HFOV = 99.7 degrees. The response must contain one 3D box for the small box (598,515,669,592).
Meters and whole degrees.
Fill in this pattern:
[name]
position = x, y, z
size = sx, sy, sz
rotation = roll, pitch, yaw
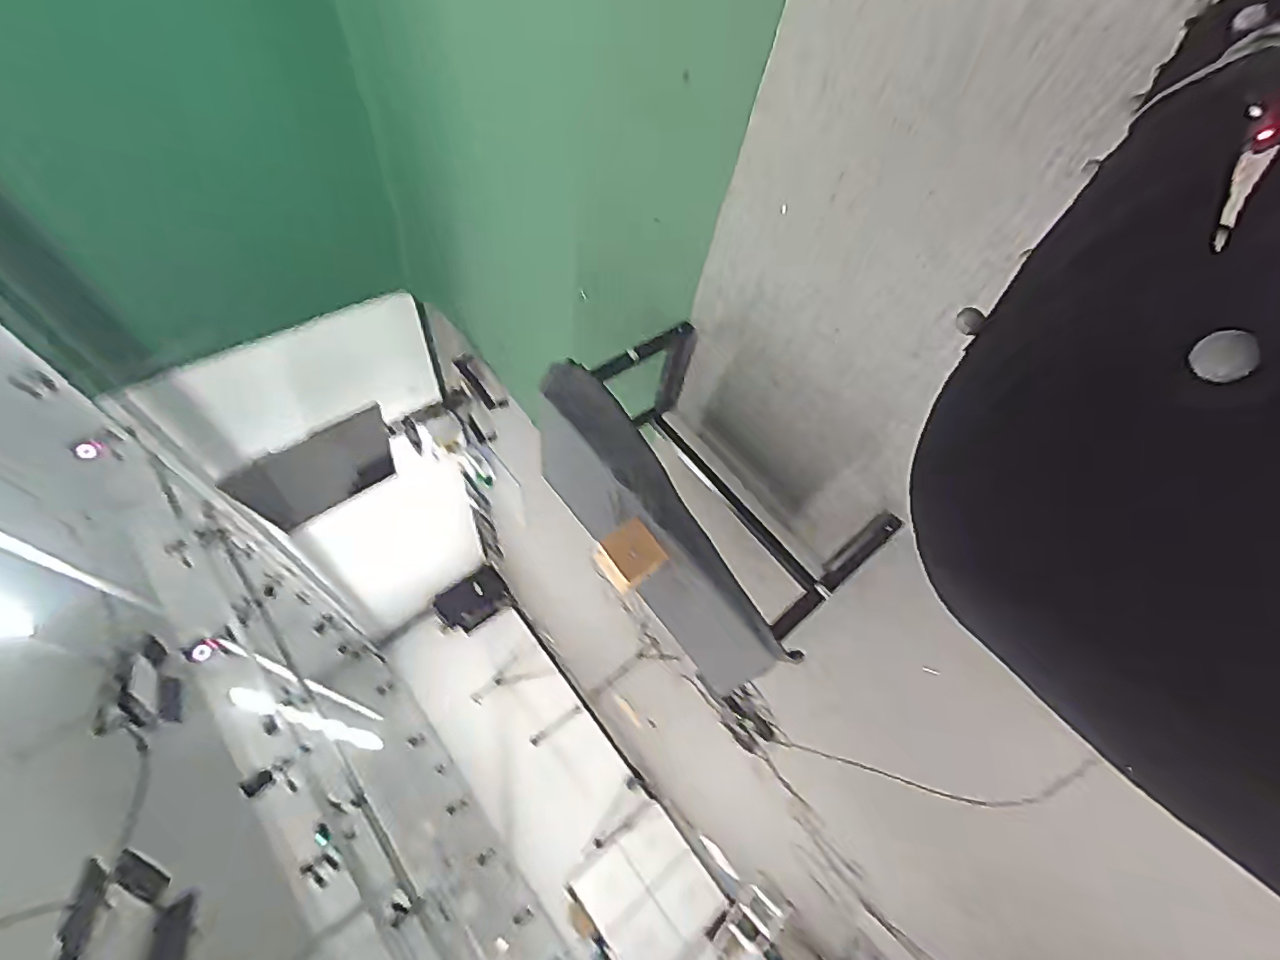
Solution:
[small box]
position = -0.023, 0.252, 1.860
size = 0.179, 0.176, 0.168
rotation = 51, 156, 16
